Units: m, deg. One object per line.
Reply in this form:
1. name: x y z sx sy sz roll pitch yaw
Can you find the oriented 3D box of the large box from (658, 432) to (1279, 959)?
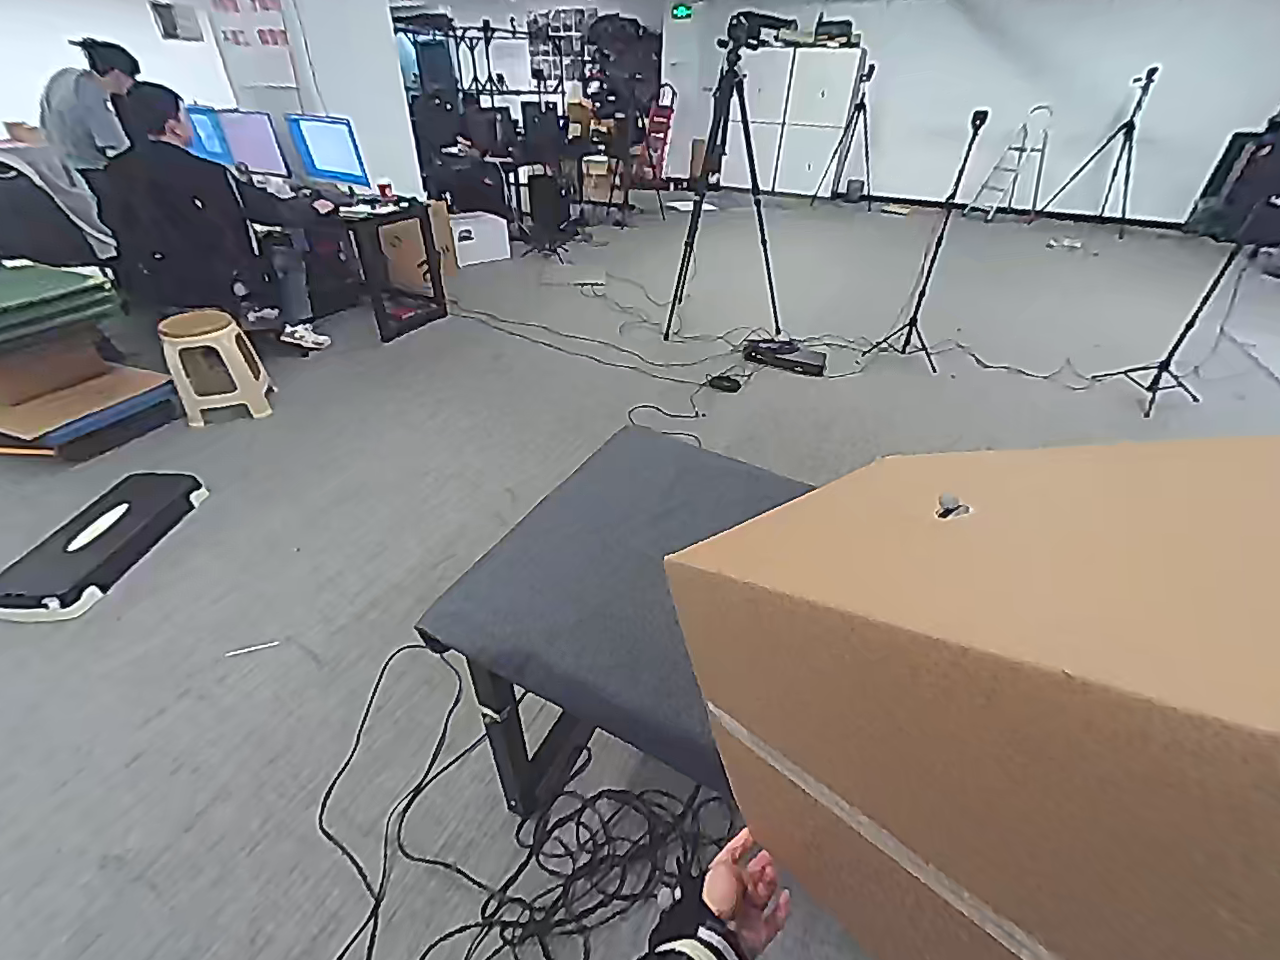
1. large box: 0.271 0.165 0.416 0.320 0.320 0.408 -22 9 -24
